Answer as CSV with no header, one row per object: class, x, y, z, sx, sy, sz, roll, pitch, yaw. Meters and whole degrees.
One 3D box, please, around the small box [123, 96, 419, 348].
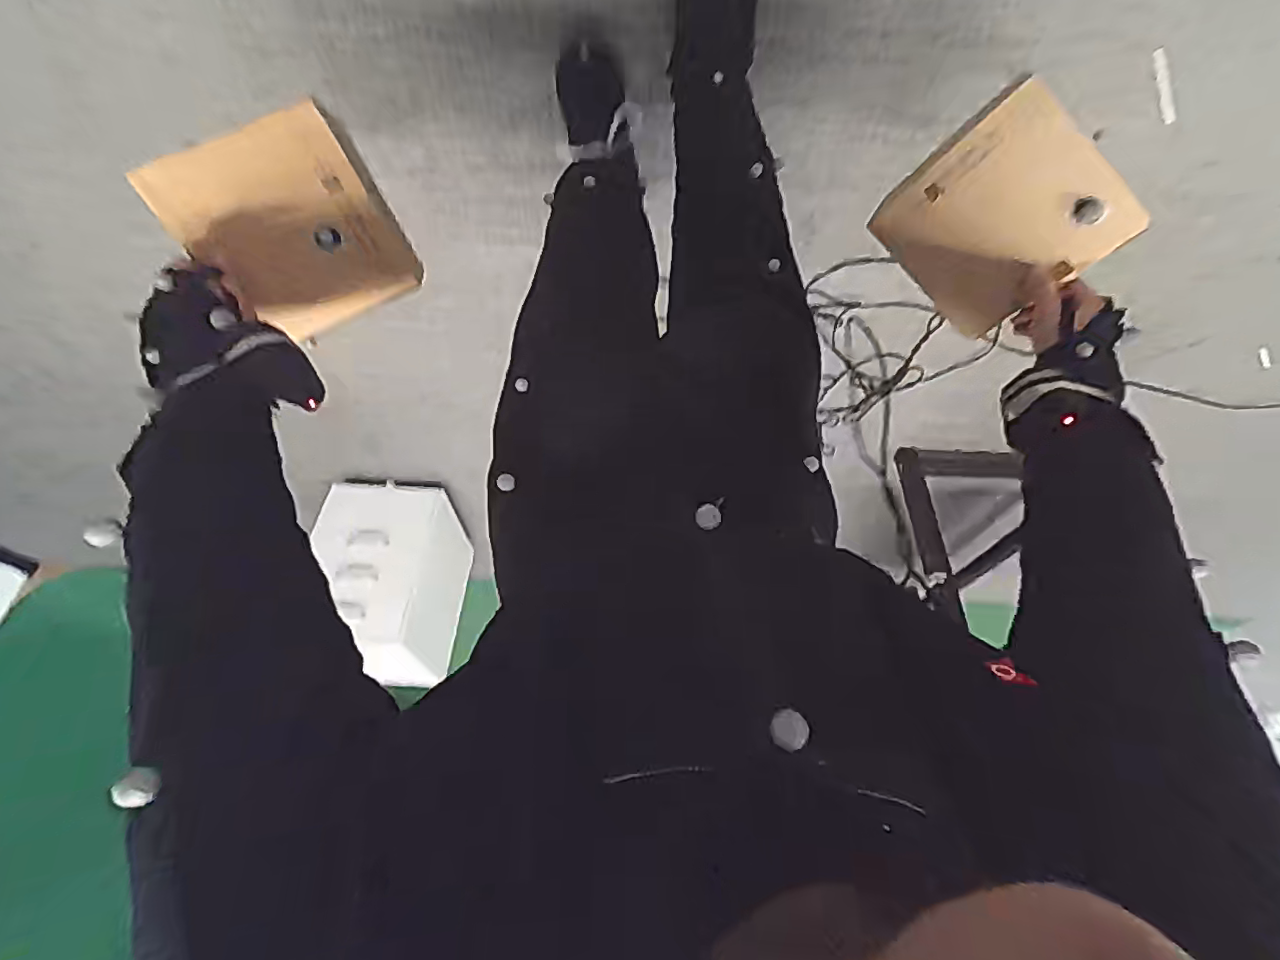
small box,-0.345,-0.263,0.557,0.176,0.179,0.168,-27,123,-5
